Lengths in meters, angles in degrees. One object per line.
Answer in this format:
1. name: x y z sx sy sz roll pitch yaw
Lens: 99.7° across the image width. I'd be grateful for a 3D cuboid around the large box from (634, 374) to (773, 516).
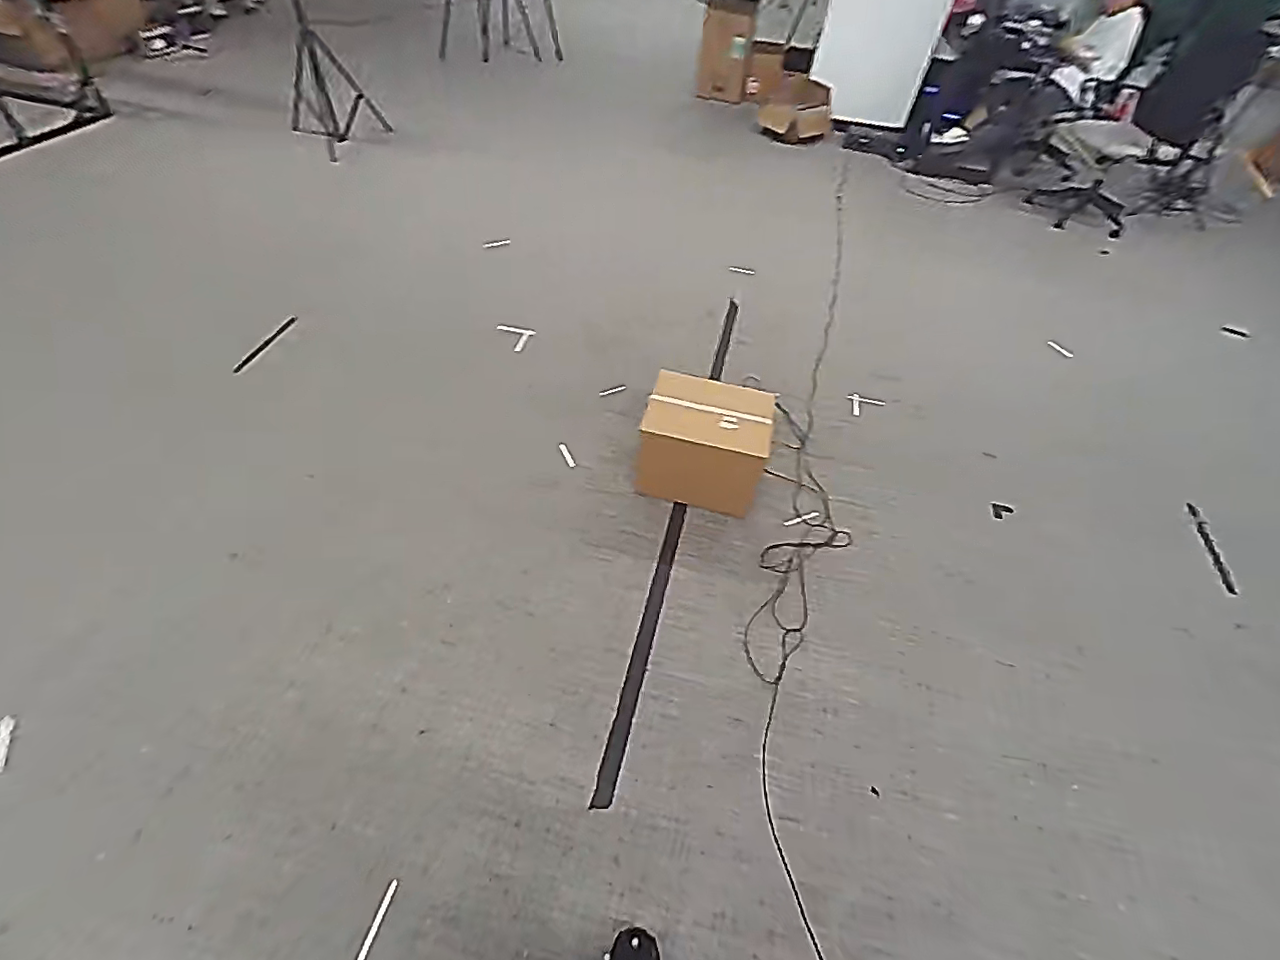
1. large box: 0.213 -0.119 1.867 0.408 0.320 0.320 14 50 6
